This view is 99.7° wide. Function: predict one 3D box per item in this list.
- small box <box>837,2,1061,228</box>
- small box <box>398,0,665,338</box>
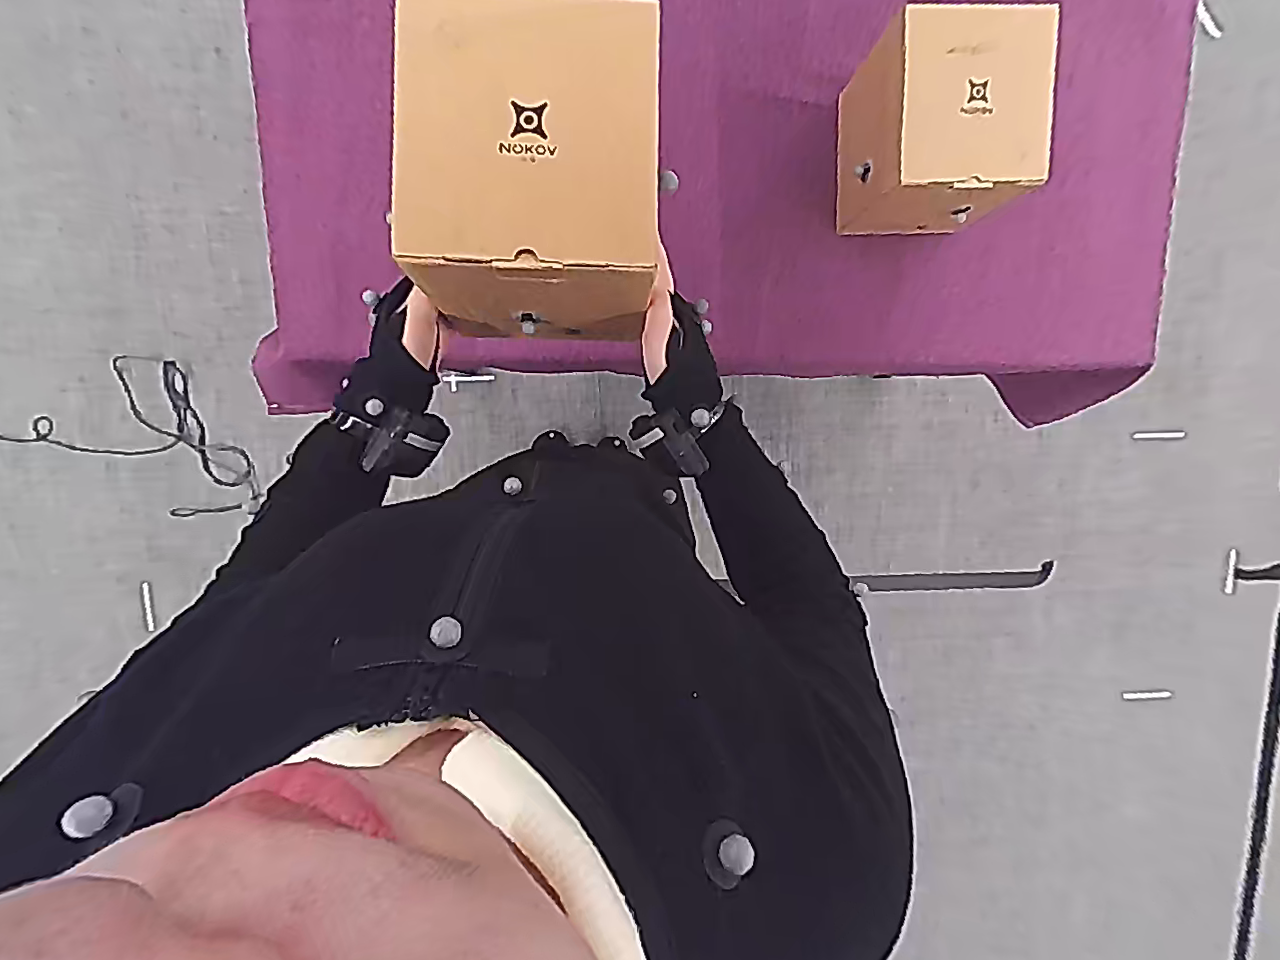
[{"bbox_3d":[0.348,-0.412,0.642,0.168,0.176,0.179,-2,98,-3],"label":"small box"},{"bbox_3d":[-0.074,-0.222,0.420,0.168,0.176,0.179,0,90,-4],"label":"small box"}]
